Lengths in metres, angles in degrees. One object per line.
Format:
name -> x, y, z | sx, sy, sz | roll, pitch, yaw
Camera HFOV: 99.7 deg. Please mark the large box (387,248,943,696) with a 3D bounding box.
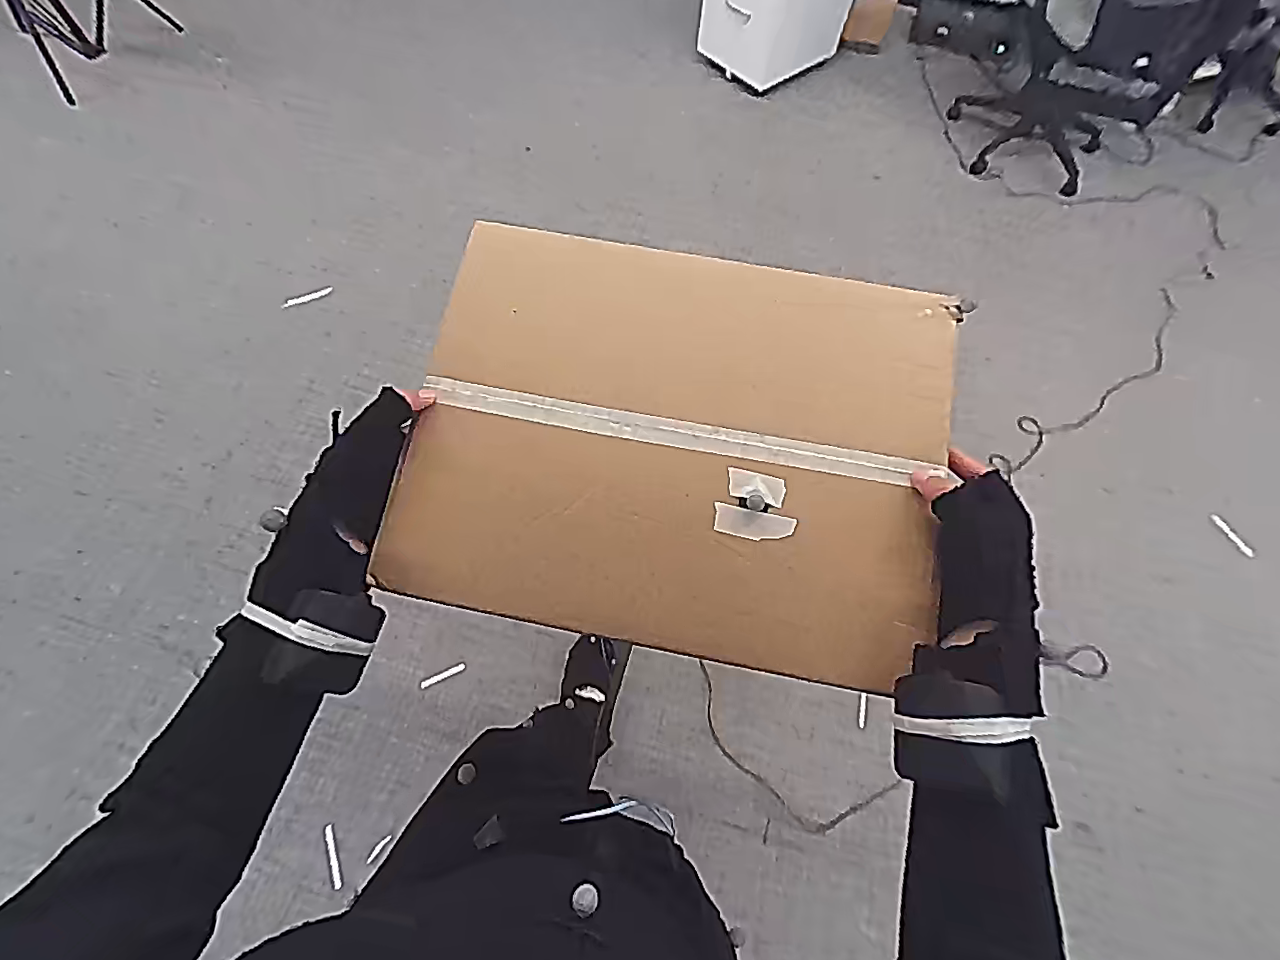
large box -> 0.031, 0.010, 0.570 | 0.408, 0.320, 0.320 | 11, 78, 3
